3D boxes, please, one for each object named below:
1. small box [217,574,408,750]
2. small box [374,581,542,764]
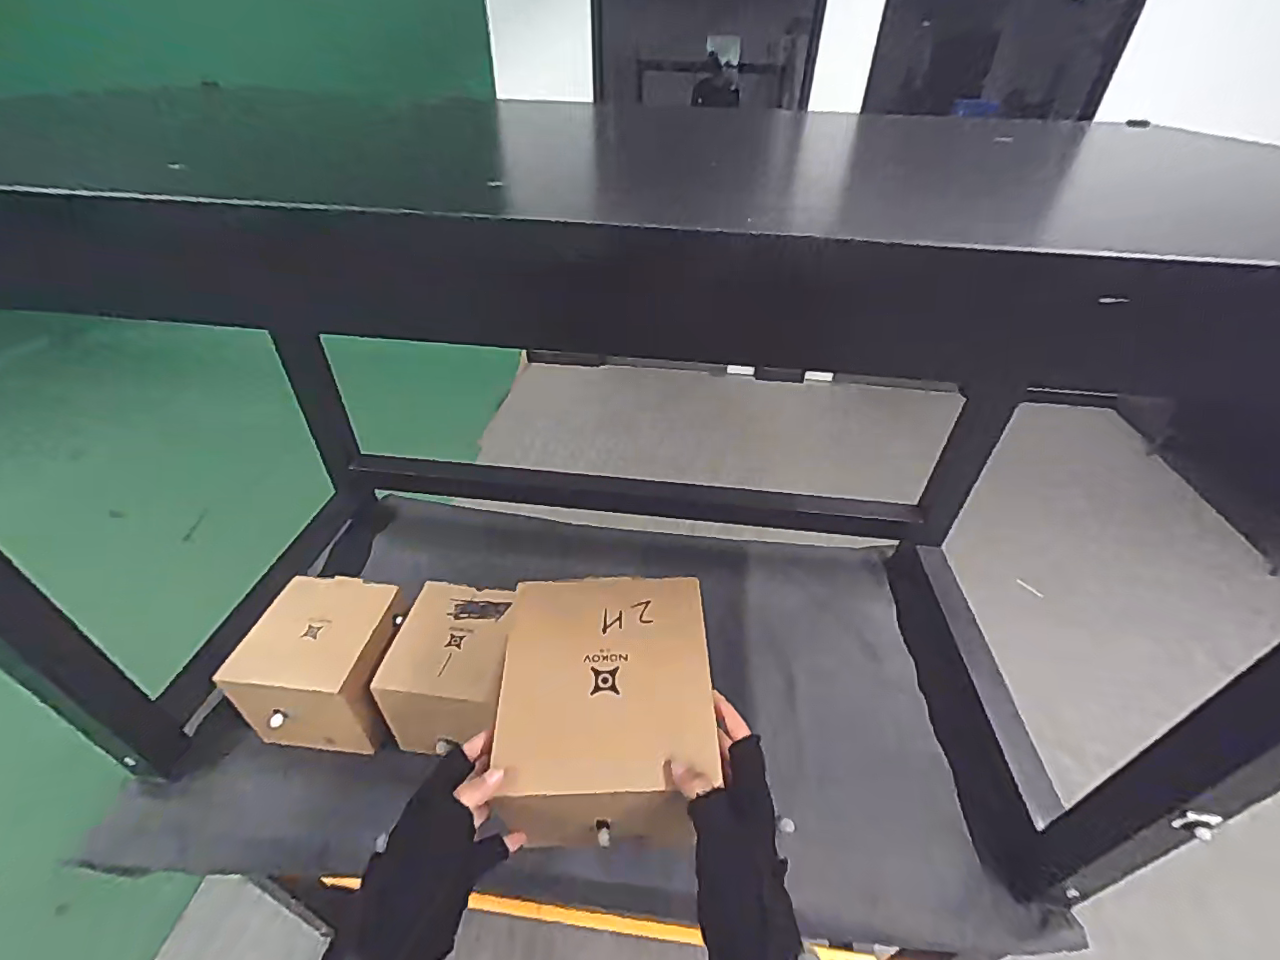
[{"bbox_3d":[-0.440,0.263,0.781,0.168,0.176,0.179,5,38,3],"label":"small box"},{"bbox_3d":[-0.243,0.272,0.776,0.168,0.176,0.179,5,39,5],"label":"small box"}]
